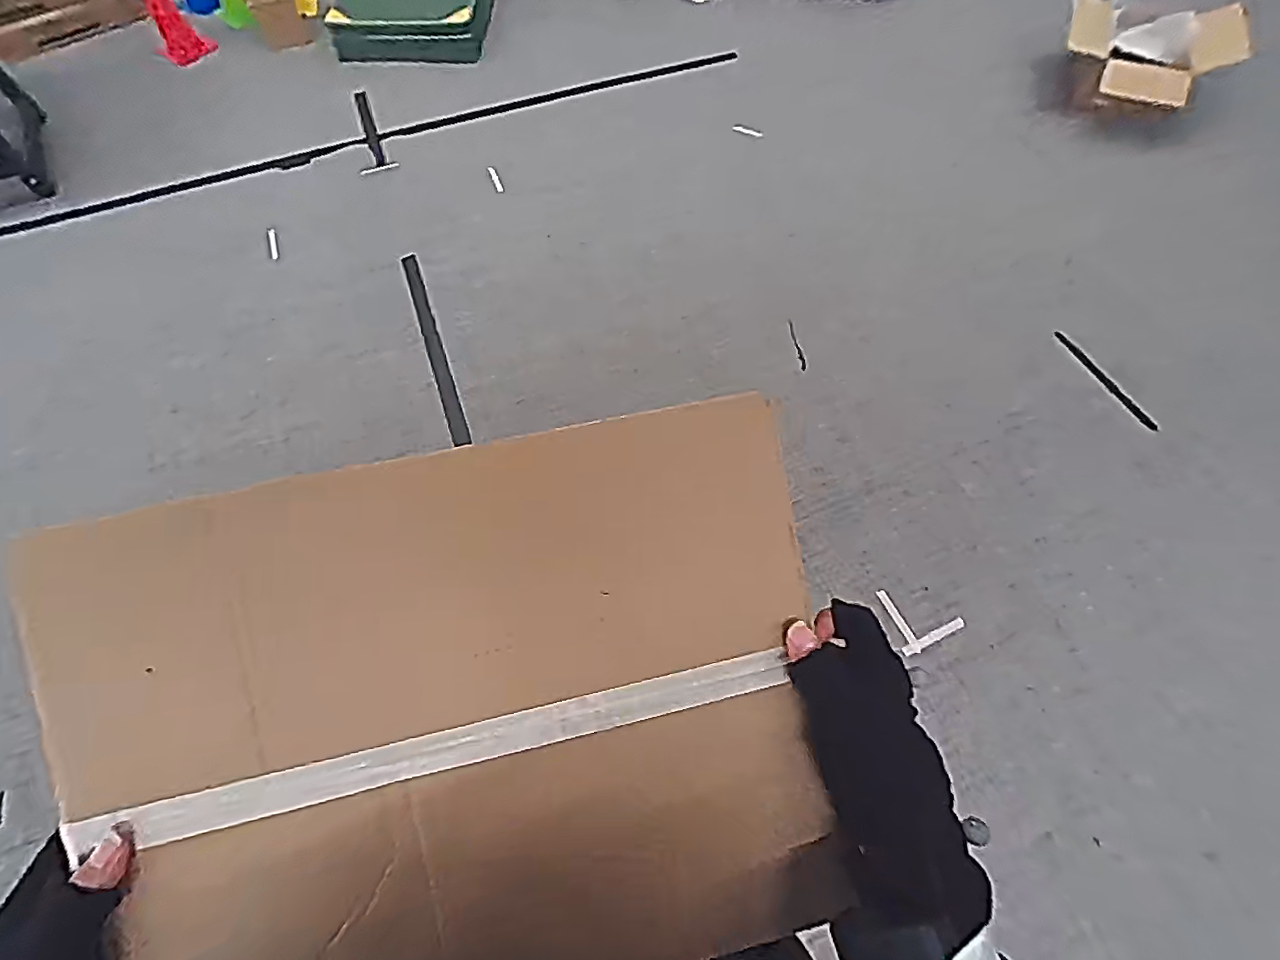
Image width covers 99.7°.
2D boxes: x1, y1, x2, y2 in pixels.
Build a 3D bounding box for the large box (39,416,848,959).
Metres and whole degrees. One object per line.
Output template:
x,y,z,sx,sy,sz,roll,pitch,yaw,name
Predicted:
-0.108,0.149,0.457,0.408,0.320,0.320,-12,91,-6,large box
